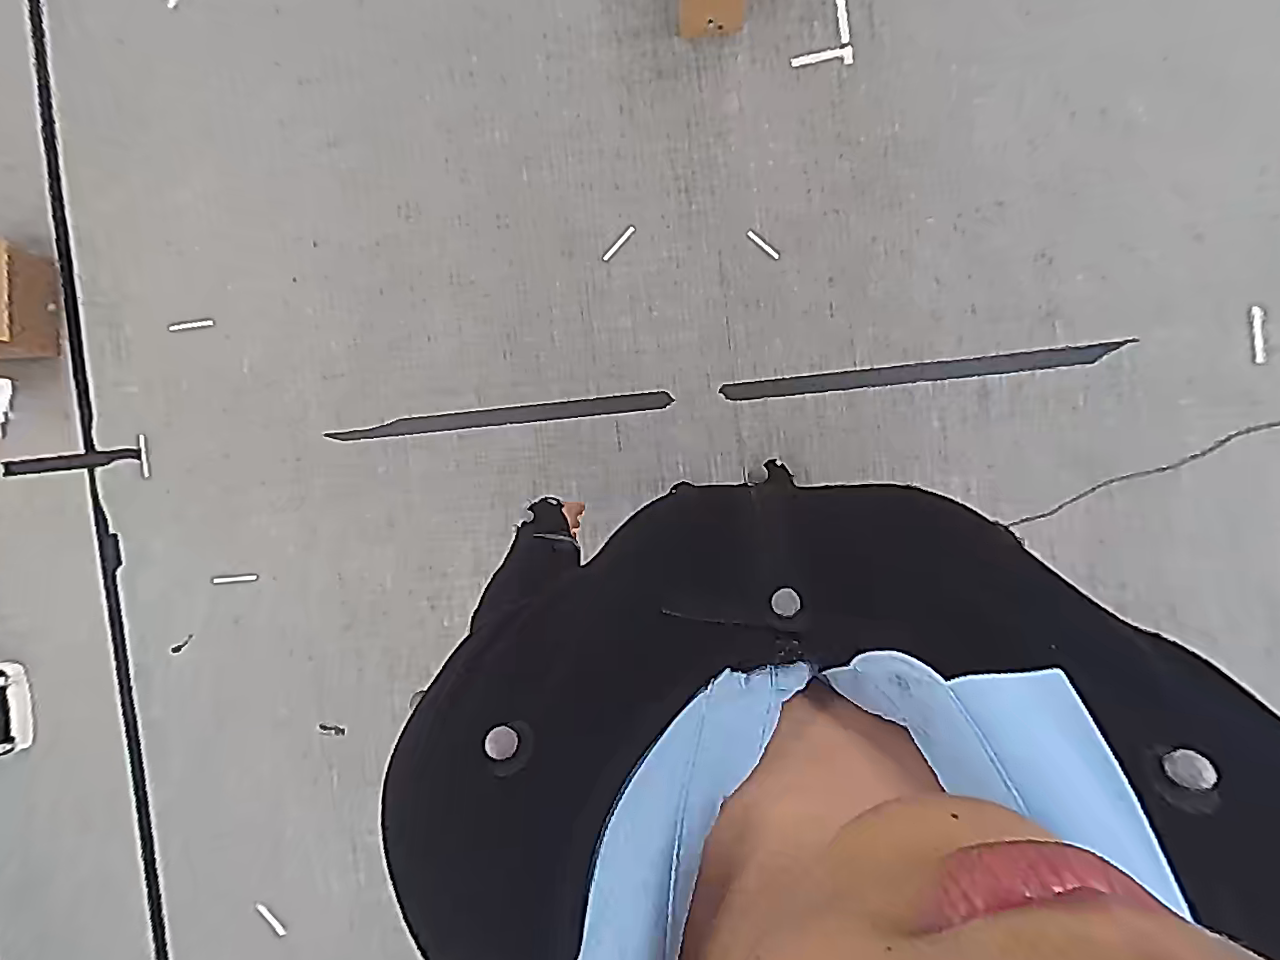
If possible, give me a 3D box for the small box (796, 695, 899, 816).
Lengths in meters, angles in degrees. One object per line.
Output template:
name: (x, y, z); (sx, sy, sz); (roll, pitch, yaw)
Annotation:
small box: (0.458, 0.612, 1.214); (0.168, 0.176, 0.179); (-11, 90, 8)
